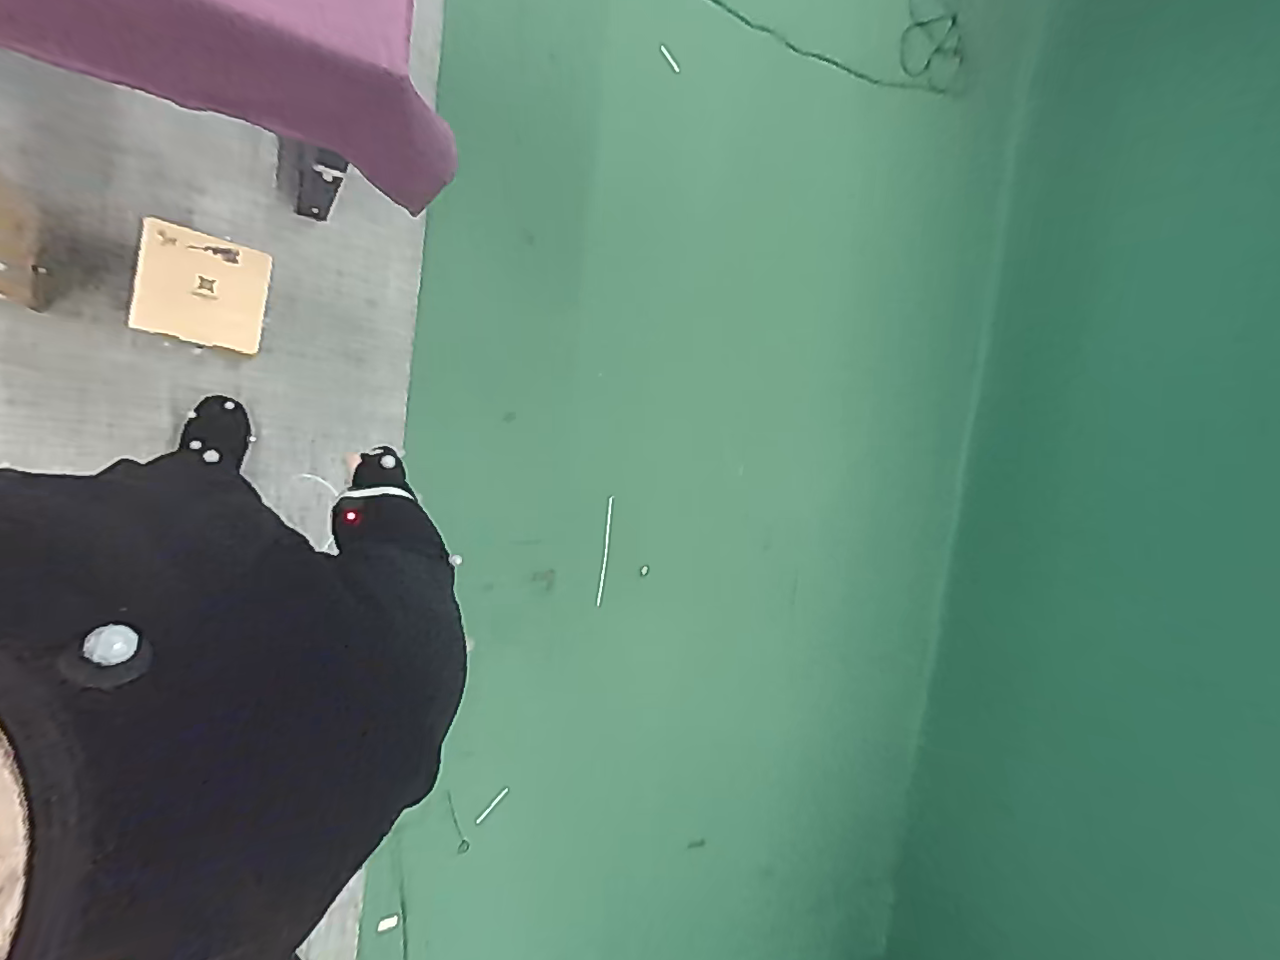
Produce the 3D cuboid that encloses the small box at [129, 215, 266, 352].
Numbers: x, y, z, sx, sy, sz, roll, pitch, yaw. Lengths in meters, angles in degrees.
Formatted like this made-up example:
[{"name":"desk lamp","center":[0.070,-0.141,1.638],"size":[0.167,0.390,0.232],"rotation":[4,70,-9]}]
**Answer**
[{"name":"small box","center":[-0.757,-0.324,0.931],"size":[0.168,0.176,0.179],"rotation":[3,98,-40]}]
